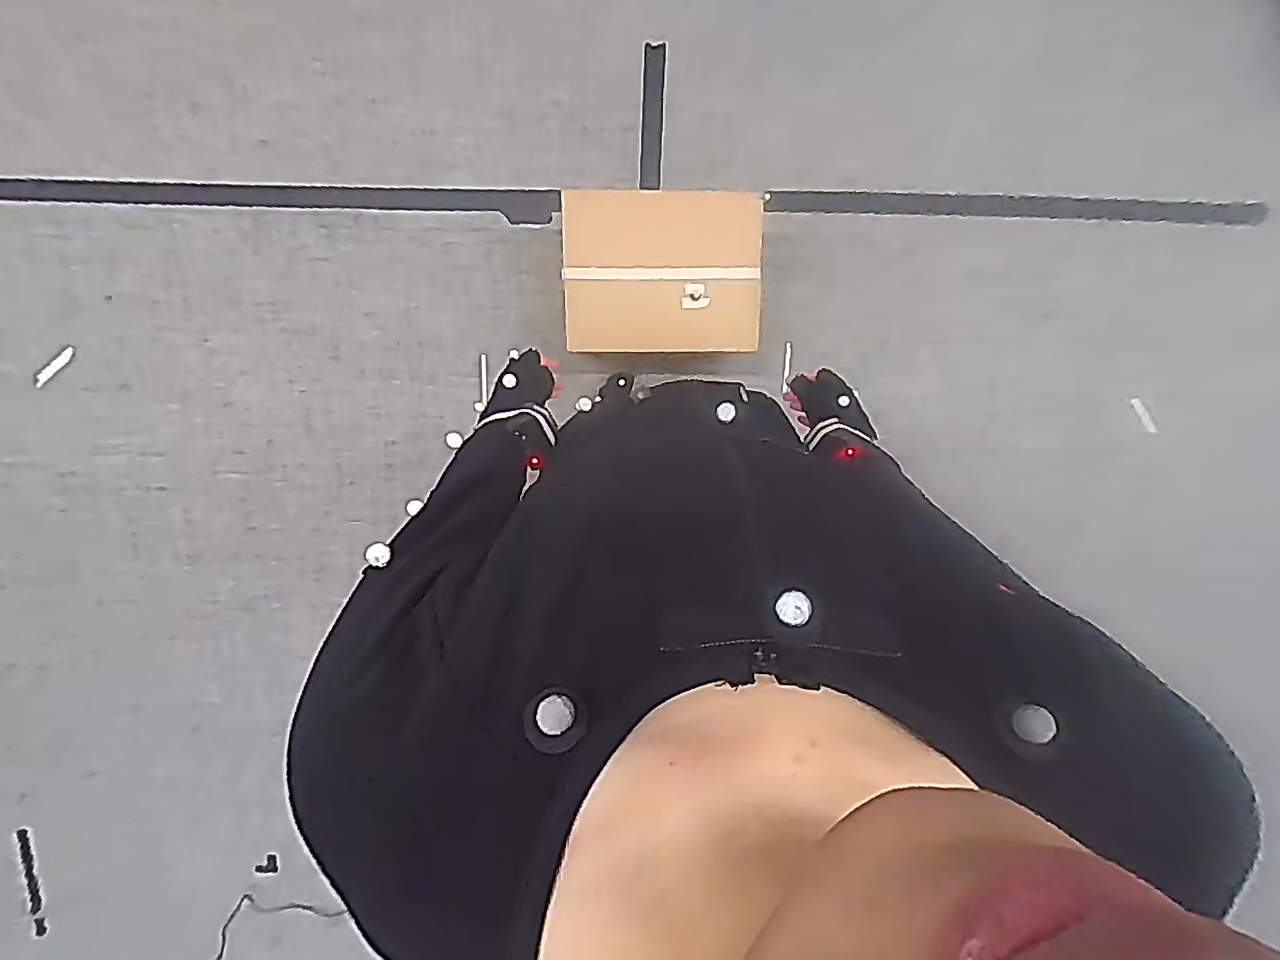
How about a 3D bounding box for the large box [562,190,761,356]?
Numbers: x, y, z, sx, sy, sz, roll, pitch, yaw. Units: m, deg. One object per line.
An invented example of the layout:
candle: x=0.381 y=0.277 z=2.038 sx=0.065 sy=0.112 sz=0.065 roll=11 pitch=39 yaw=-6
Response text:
large box: x=0.038 y=-0.452 z=1.248 sx=0.408 sy=0.320 sz=0.320 roll=-1 pitch=102 yaw=-3
